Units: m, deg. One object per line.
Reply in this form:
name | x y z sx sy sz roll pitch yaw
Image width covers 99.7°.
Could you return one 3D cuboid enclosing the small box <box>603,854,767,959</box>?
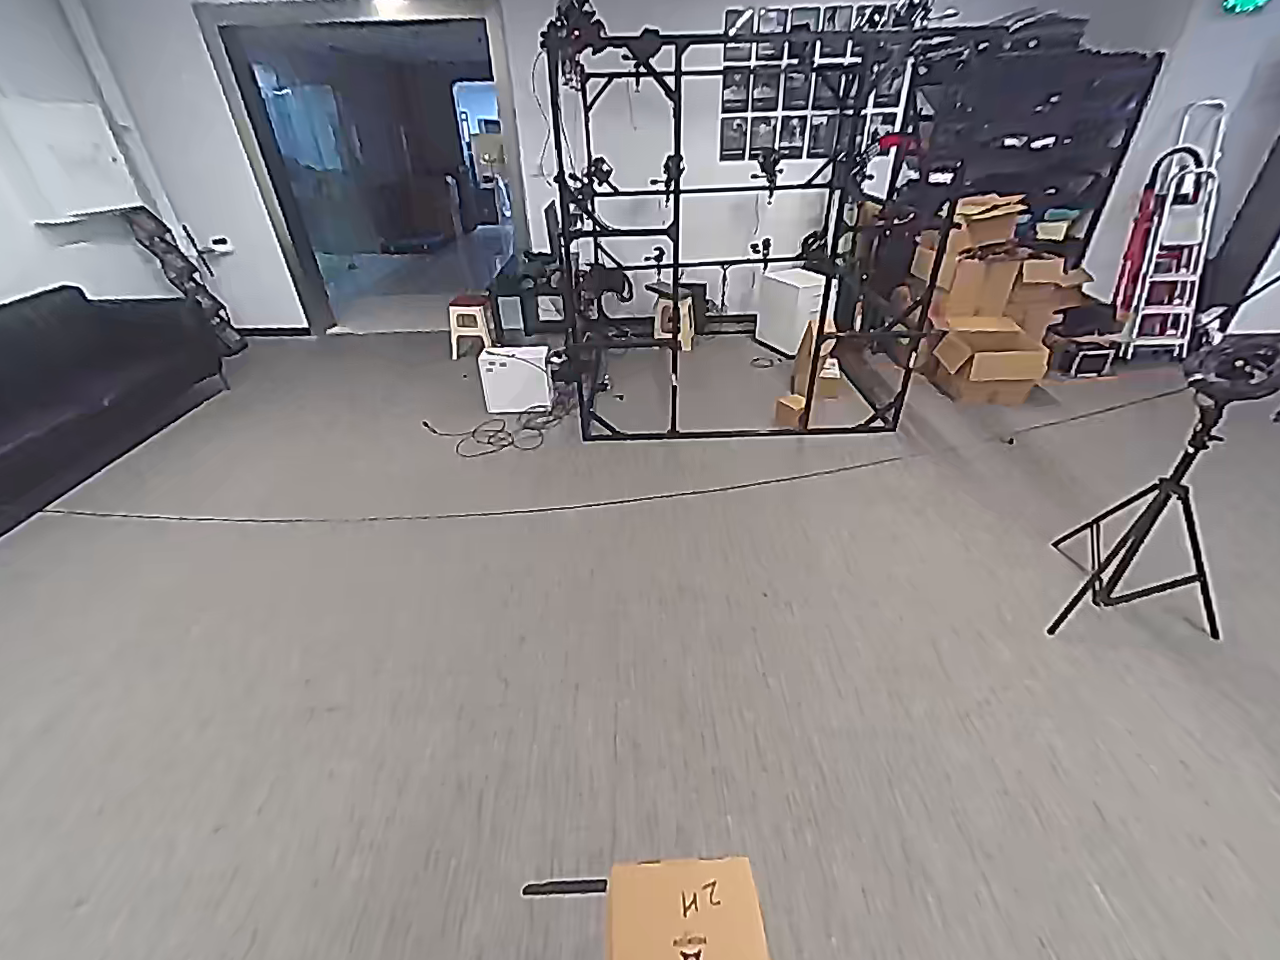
small box | 0.044 0.554 0.606 0.168 0.176 0.179 2 35 -6
